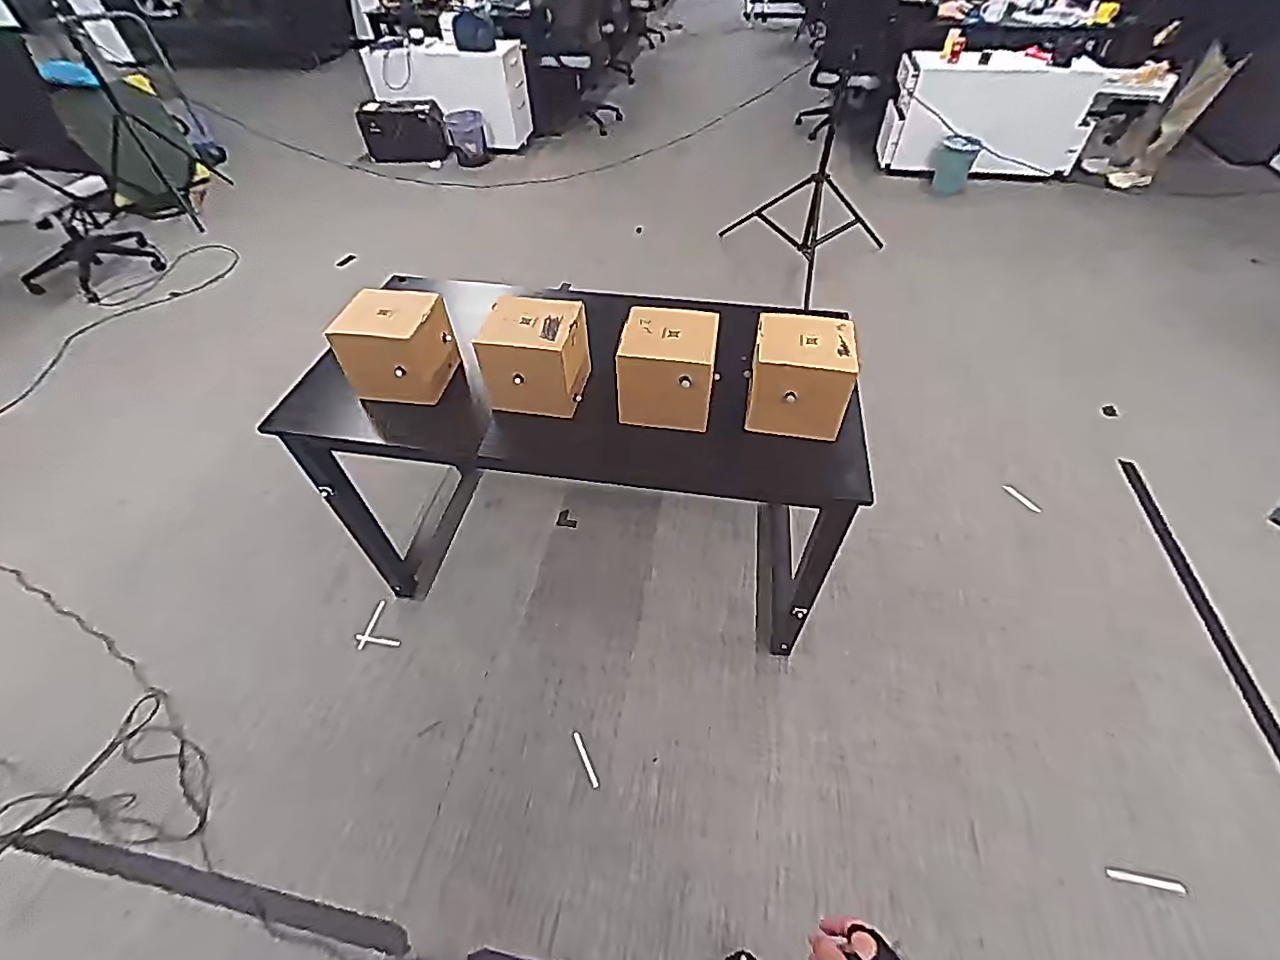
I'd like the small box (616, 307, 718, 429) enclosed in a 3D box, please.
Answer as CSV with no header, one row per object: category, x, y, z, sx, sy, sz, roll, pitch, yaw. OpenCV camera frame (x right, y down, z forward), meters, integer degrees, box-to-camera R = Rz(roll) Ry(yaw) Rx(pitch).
small box,0.054,-0.218,1.070,0.179,0.176,0.168,6,49,6

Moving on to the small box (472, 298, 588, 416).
small box,-0.212,-0.248,1.104,0.179,0.176,0.168,7,50,8

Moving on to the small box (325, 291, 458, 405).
small box,-0.505,-0.274,1.135,0.179,0.176,0.168,4,49,6

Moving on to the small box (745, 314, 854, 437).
small box,0.302,-0.201,1.050,0.179,0.176,0.168,6,50,9
